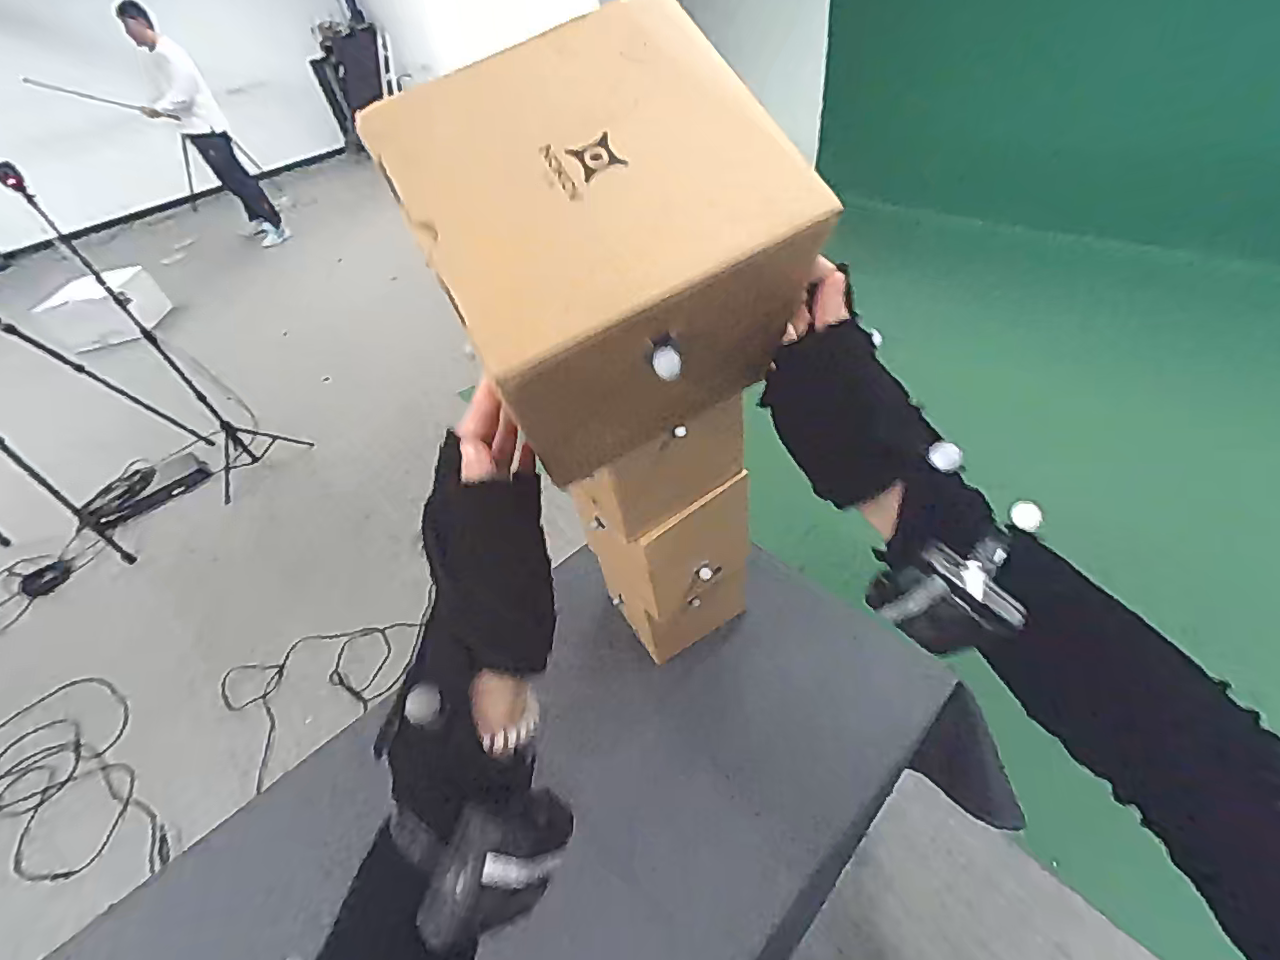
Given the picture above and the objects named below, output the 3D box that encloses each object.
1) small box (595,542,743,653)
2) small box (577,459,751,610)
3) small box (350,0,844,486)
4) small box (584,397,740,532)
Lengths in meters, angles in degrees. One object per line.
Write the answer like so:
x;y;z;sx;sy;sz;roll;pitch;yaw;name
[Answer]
0.050;0.140;0.856;0.179;0.176;0.168;-27;47;-16;small box
0.030;0.039;0.728;0.168;0.176;0.179;-33;49;-19;small box
-0.022;-0.119;0.321;0.179;0.176;0.168;-29;76;-6;small box
0.001;-0.074;0.613;0.179;0.176;0.168;-31;48;-18;small box
